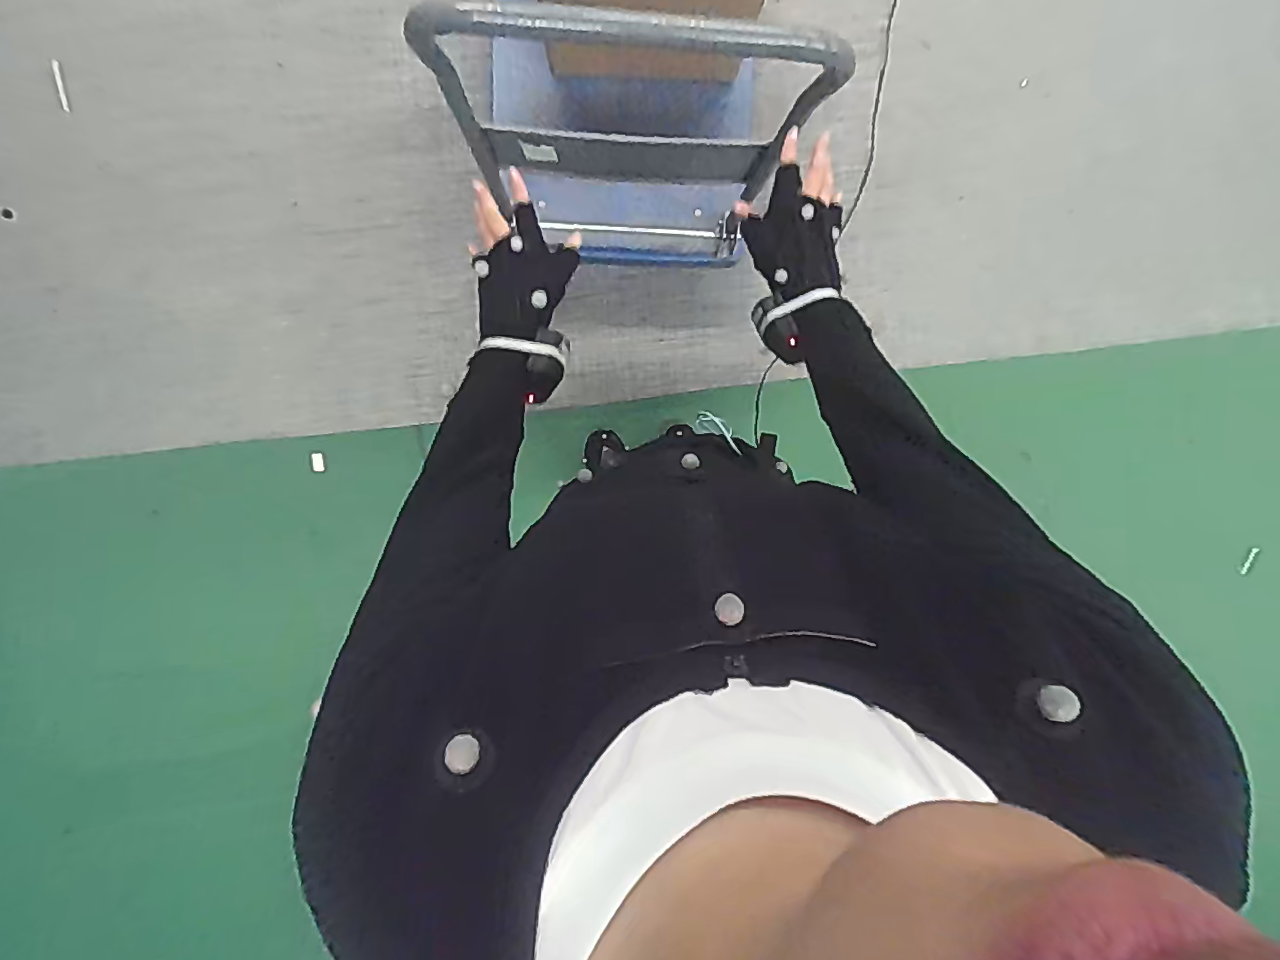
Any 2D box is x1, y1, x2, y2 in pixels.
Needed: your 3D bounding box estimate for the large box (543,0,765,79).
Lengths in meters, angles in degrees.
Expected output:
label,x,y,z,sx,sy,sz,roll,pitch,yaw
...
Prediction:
label,x,y,z,sx,sy,sz,roll,pitch,yaw
large box,0.021,-1.016,1.025,0.408,0.320,0.320,-1,96,-3
